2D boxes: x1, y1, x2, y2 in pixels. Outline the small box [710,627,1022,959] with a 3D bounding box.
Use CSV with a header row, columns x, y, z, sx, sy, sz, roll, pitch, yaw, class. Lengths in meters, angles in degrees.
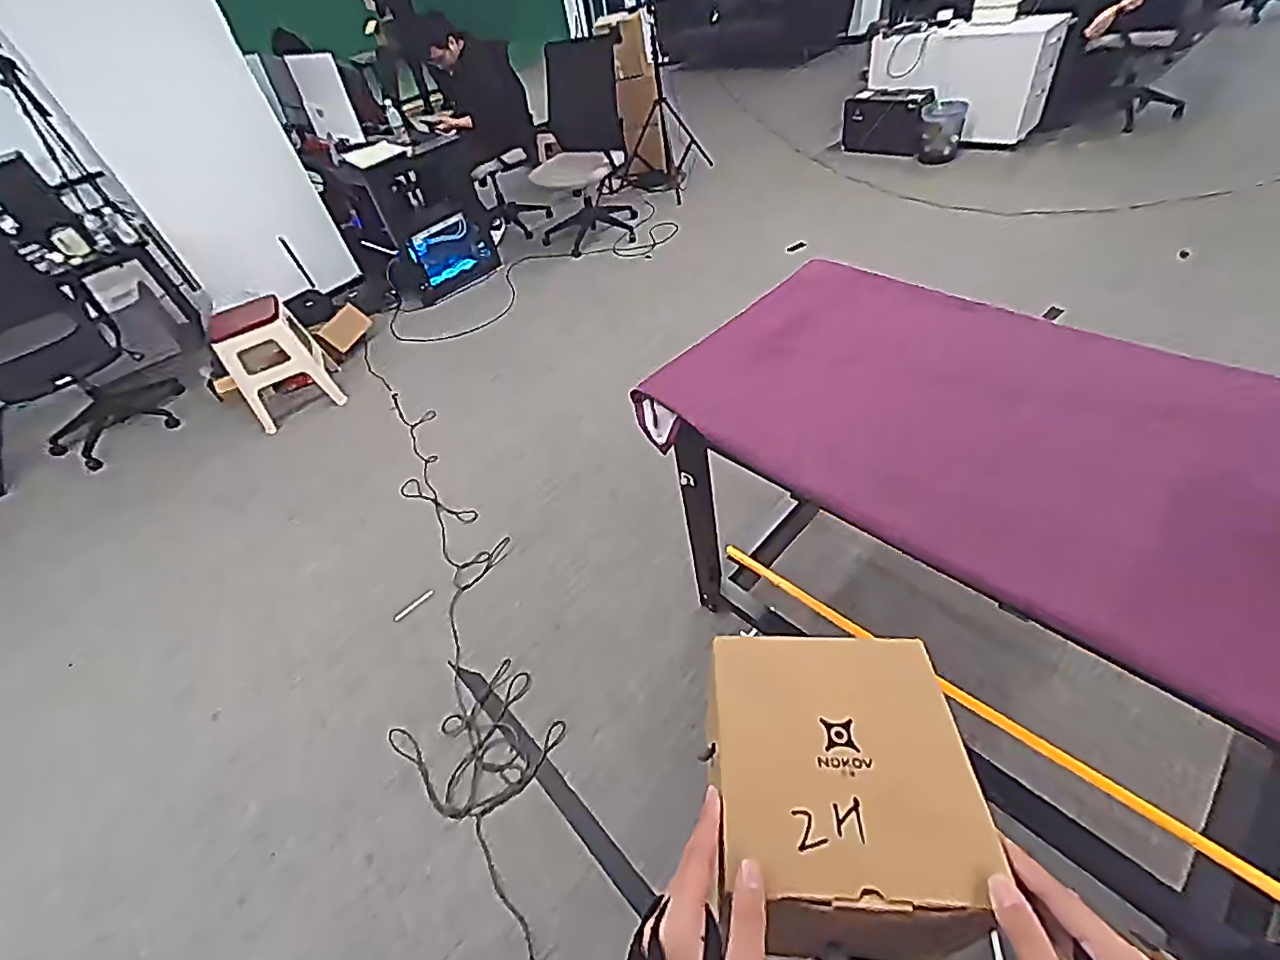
x,y,z,sx,sy,sz,roll,pitch,yaw,class
0.142,0.239,0.422,0.168,0.176,0.179,0,40,5,small box
